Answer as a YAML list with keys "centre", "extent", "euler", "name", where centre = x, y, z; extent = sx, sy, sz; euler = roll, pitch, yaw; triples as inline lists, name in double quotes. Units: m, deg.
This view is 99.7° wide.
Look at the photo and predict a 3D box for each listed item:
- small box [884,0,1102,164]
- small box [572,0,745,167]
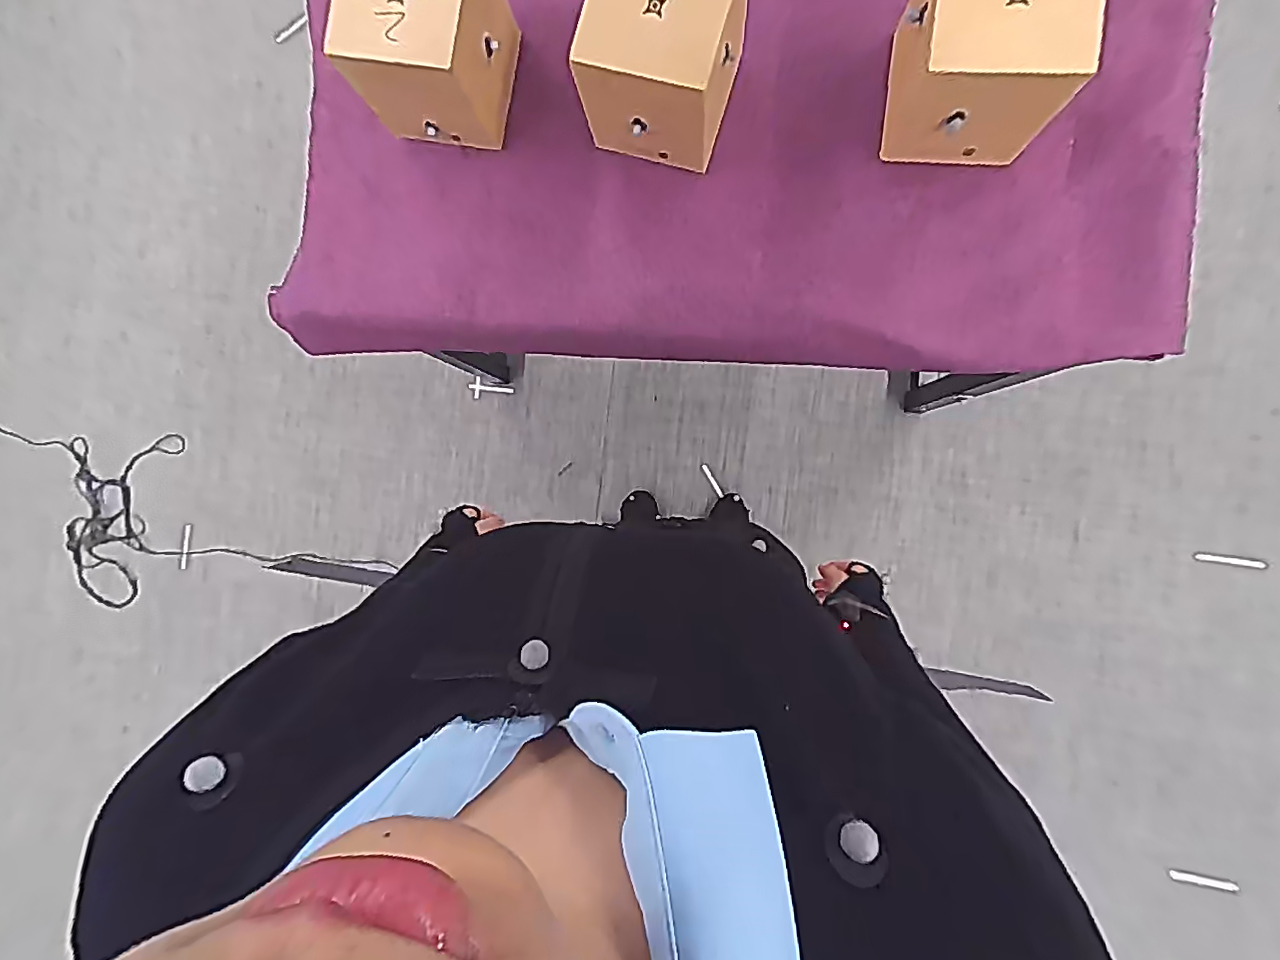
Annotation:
- centre: [0.407, -0.509, 0.646]
  extent: [0.168, 0.176, 0.179]
  euler: [7, 90, 7]
  name: "small box"
- centre: [0.032, -0.540, 0.687]
  extent: [0.168, 0.176, 0.179]
  euler: [18, 92, 5]
  name: "small box"
